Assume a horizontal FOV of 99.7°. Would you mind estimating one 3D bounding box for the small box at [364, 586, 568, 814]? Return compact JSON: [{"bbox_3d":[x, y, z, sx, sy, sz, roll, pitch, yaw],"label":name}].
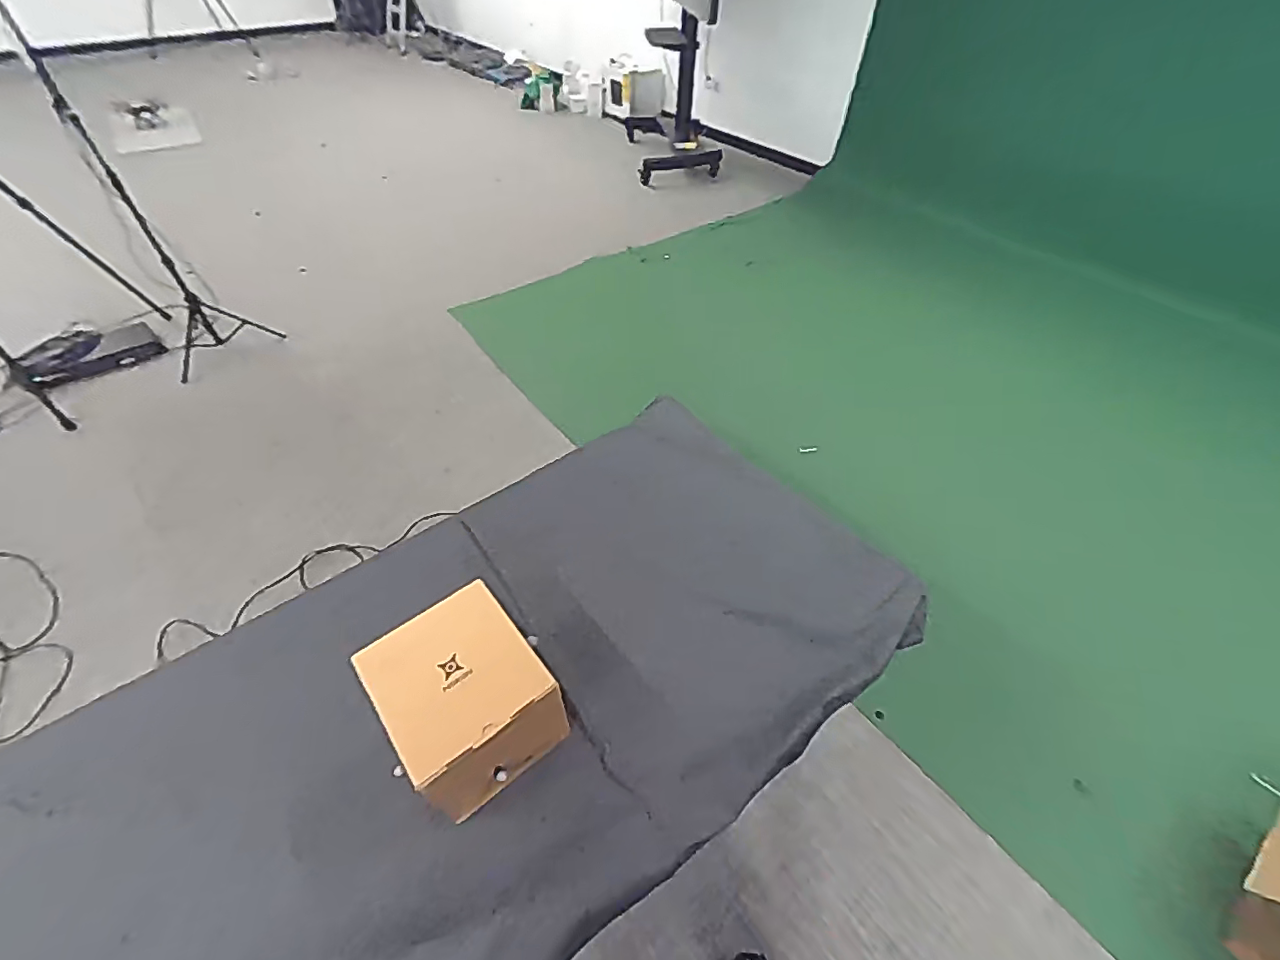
[{"bbox_3d":[-0.207,0.275,0.675,0.168,0.176,0.179,-32,57,-26],"label":"small box"}]
